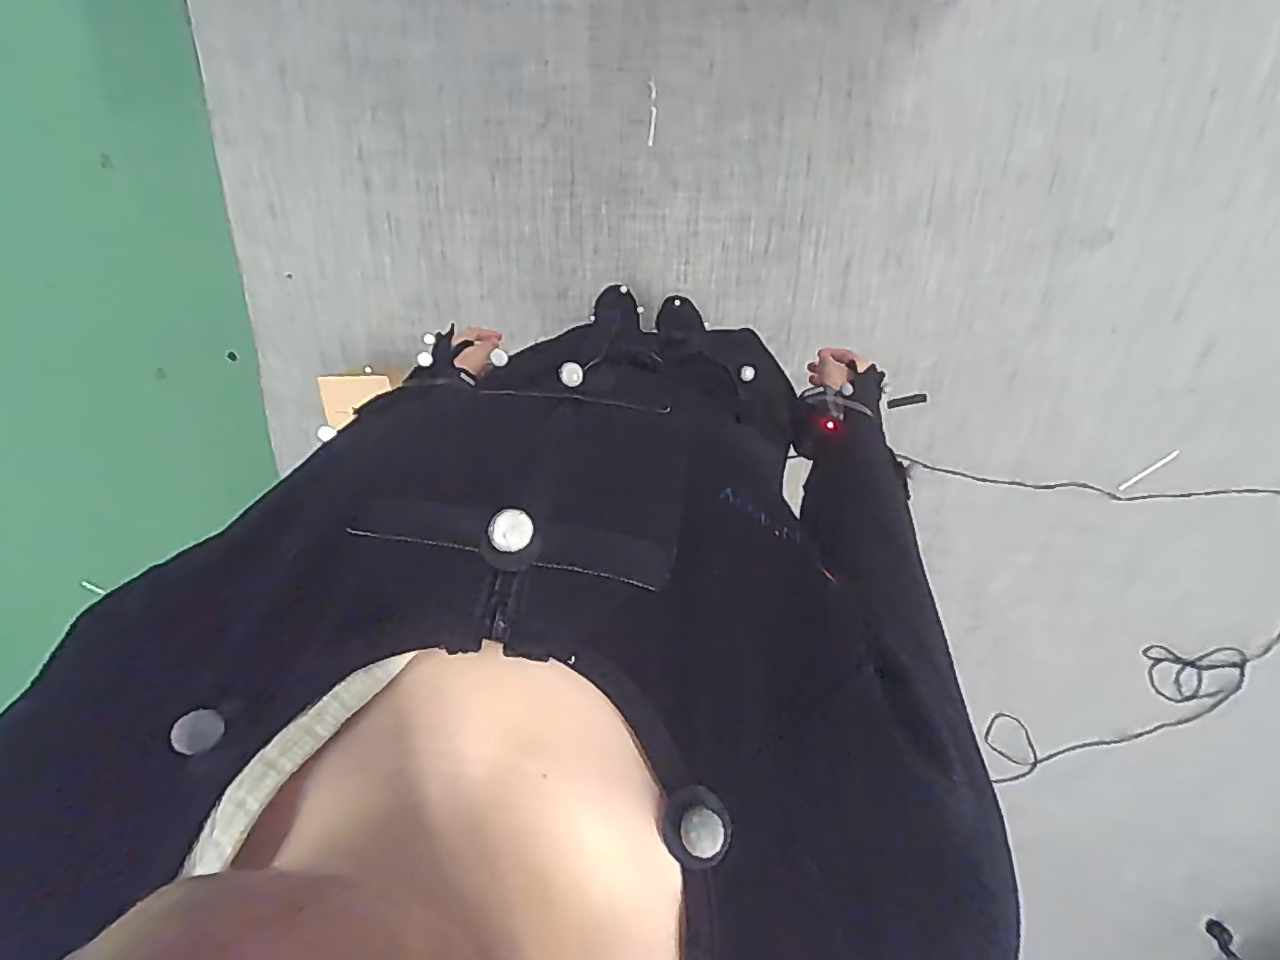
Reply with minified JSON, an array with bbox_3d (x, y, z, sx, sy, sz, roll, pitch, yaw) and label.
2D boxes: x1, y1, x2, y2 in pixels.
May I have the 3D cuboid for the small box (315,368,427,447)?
[{"bbox_3d":[-0.637,-0.180,1.310,0.179,0.176,0.168,0,108,6],"label":"small box"}]
